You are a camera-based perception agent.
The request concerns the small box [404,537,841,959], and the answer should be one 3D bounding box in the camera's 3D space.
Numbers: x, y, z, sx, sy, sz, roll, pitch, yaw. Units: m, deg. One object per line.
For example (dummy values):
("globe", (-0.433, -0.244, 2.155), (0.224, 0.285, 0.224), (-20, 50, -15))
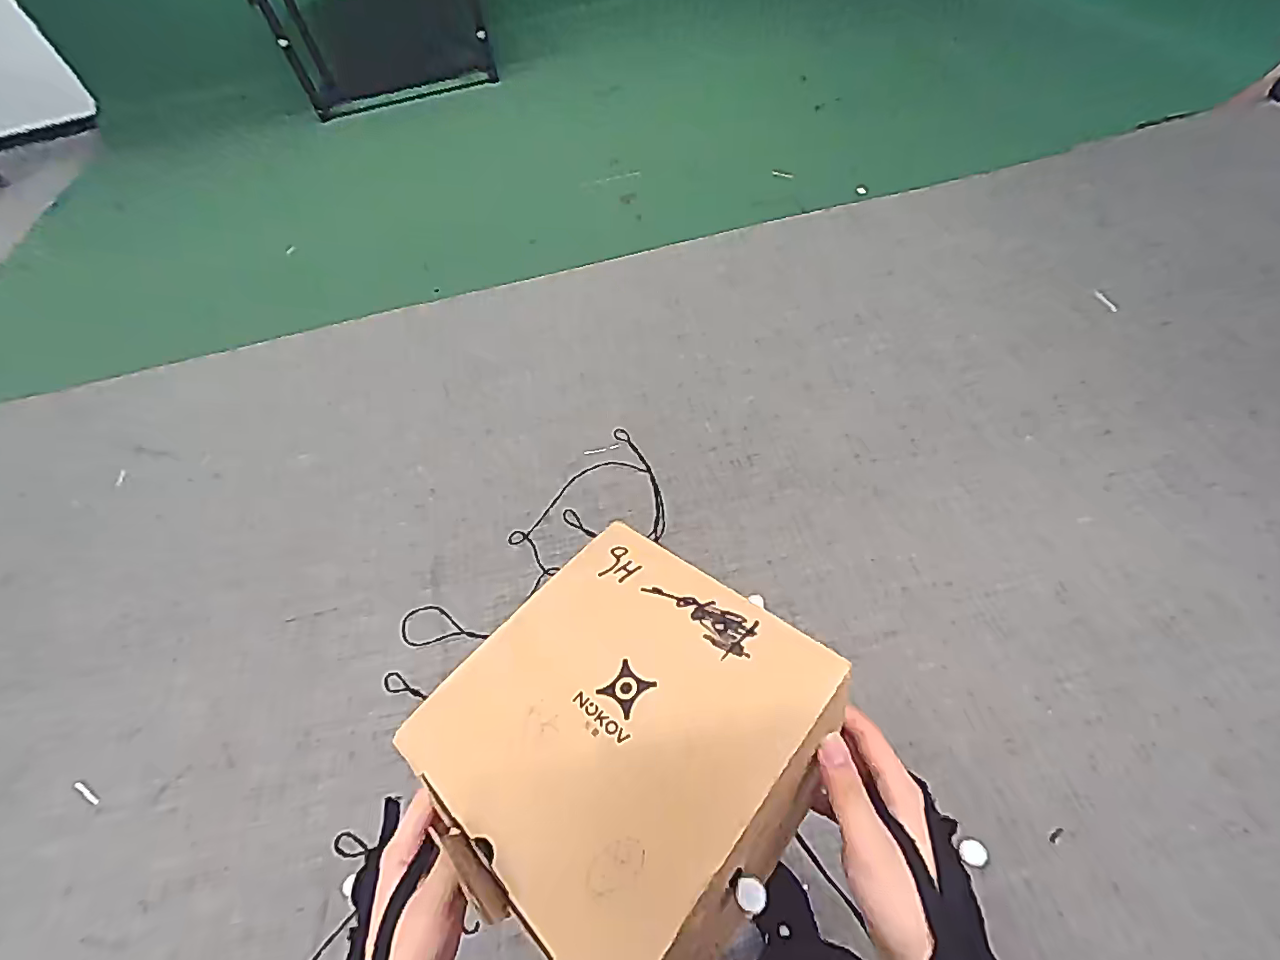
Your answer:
("small box", (0.004, 0.176, 0.332), (0.168, 0.176, 0.179), (28, 59, 34))
